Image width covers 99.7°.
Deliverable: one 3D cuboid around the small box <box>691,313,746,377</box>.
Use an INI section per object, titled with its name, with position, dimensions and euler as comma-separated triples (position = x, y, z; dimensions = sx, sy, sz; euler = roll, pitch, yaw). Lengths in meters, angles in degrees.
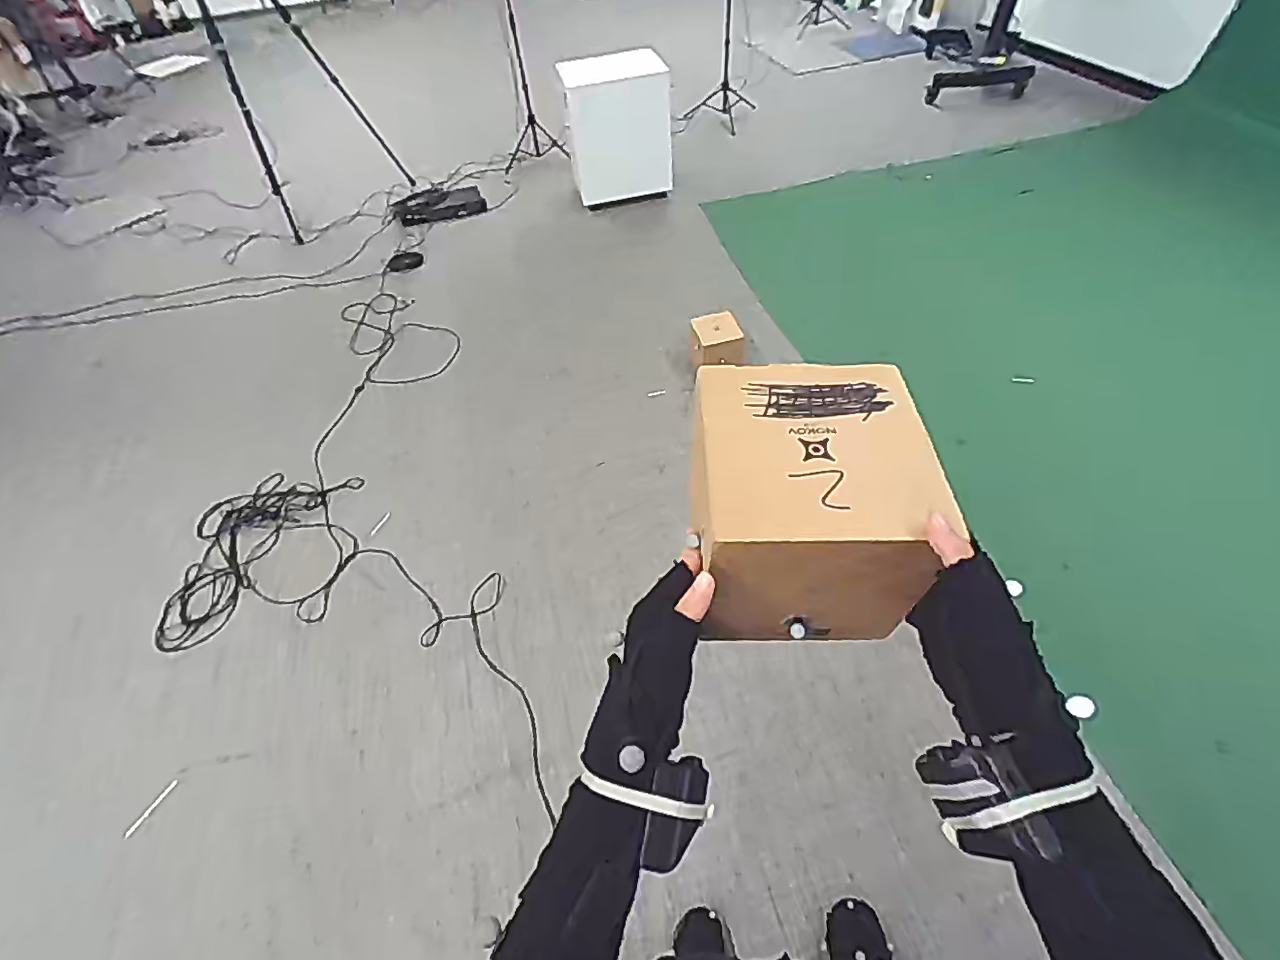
[small box]
position = 0.306, -0.524, 2.133
dimensions = 0.168, 0.176, 0.179
euler = -14, 52, -6
